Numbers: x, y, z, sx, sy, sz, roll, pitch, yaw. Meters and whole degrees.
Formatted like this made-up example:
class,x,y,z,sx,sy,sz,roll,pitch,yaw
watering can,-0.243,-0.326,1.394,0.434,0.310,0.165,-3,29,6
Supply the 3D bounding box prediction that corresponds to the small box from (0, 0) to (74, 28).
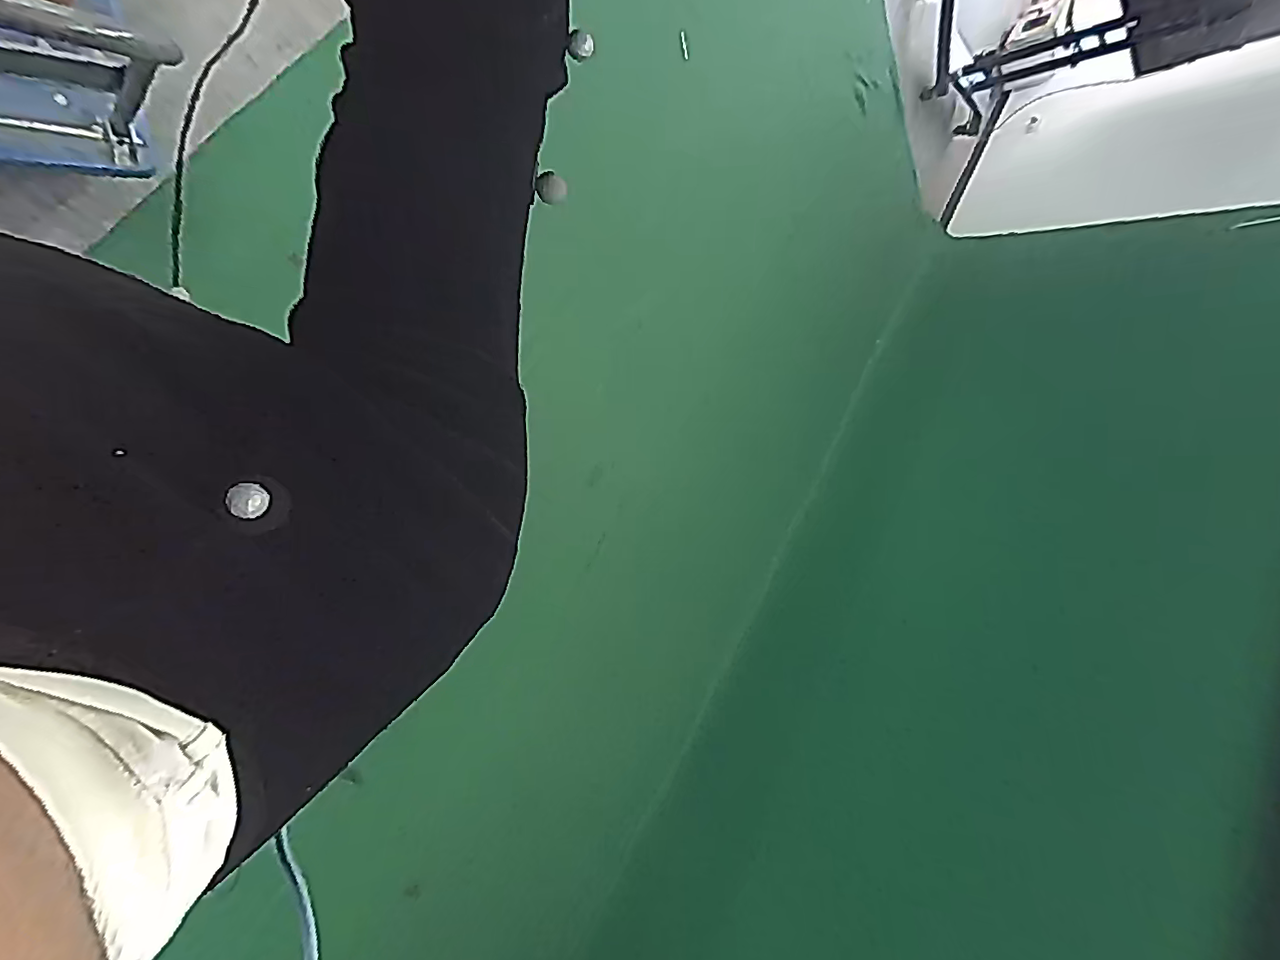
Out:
class,x,y,z,sx,sy,sz,roll,pitch,yaw
small box,-0.989,-0.831,0.806,0.168,0.176,0.179,-19,114,-42
